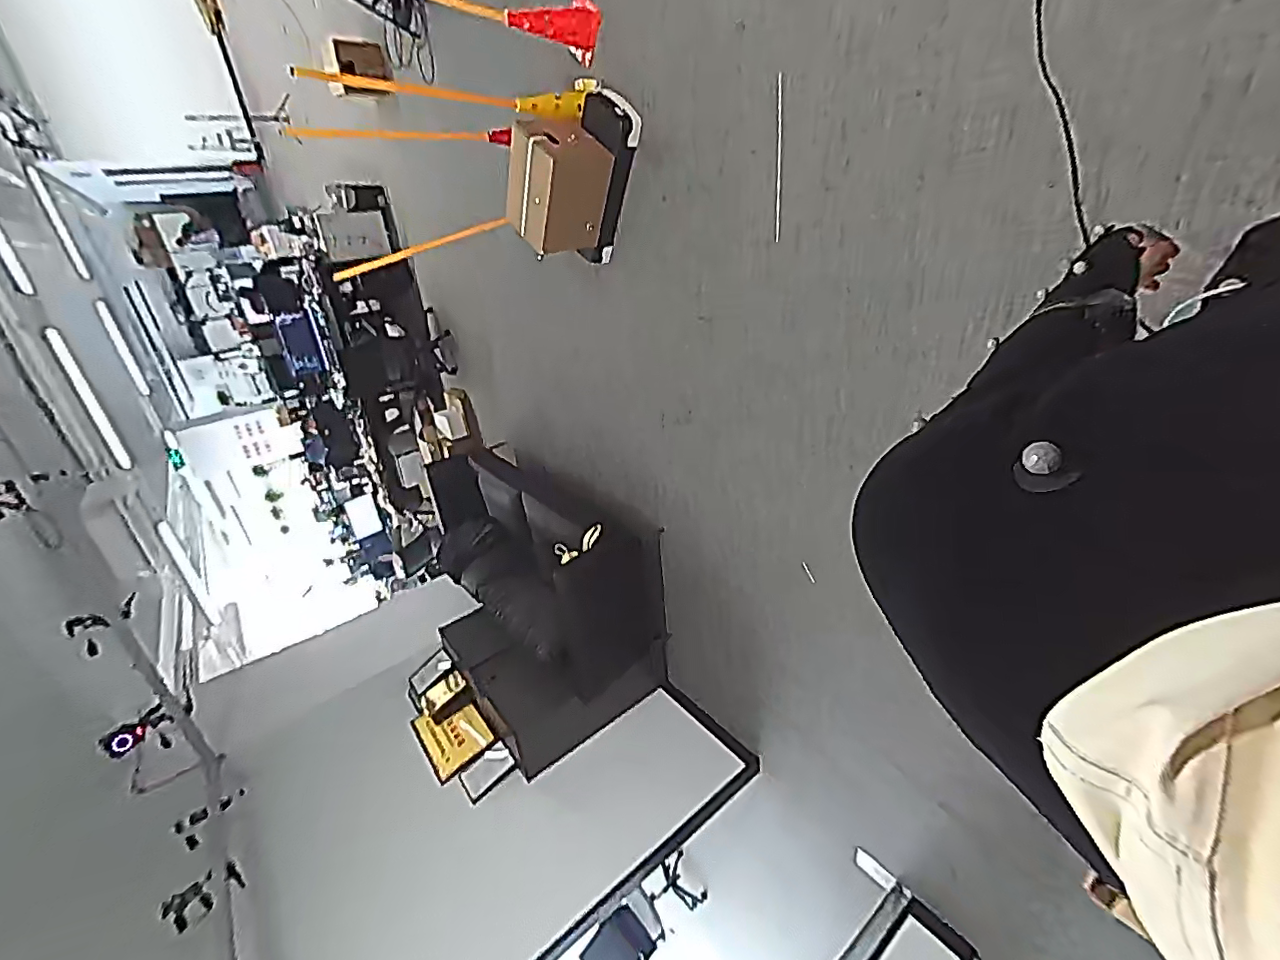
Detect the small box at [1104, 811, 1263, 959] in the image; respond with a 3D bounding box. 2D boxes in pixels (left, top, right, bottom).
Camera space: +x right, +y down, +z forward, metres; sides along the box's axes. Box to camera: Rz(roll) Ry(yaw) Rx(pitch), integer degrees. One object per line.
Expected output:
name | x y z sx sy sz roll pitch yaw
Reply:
small box | 1.095 0.826 1.091 0.168 0.176 0.179 31 132 45
